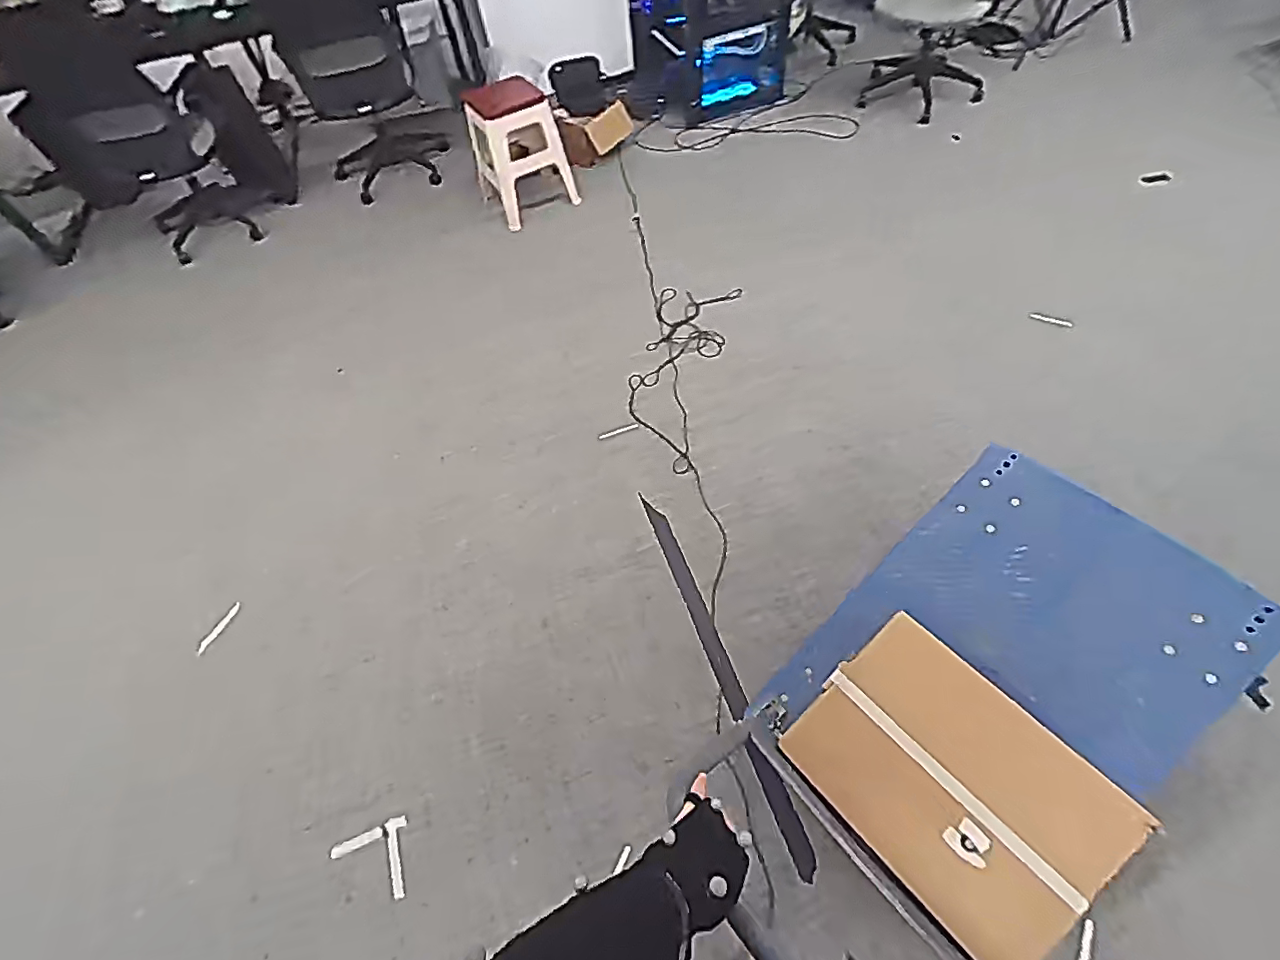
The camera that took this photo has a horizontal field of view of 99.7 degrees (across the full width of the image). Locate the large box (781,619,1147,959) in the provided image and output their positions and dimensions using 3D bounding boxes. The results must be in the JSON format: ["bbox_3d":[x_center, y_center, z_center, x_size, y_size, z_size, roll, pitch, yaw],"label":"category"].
[{"bbox_3d":[0.514,0.509,0.962,0.320,0.320,0.408,-47,63,-1],"label":"large box"}]
